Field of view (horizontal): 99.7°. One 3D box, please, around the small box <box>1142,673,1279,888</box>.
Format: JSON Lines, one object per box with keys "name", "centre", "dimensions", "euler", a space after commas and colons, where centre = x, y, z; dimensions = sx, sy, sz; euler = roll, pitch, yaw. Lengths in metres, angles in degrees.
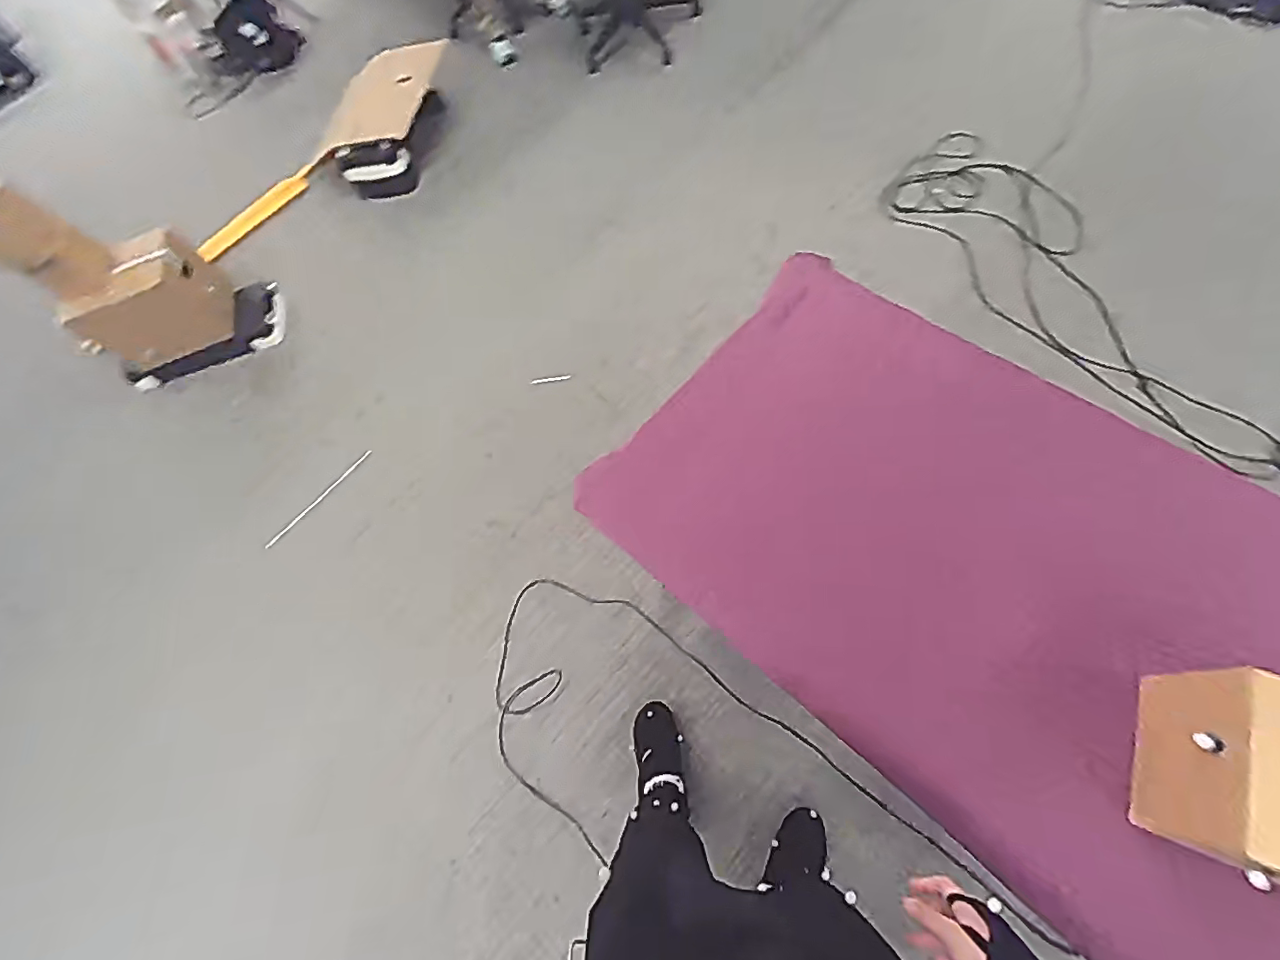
{"name": "small box", "centre": [0.657, 0.316, 0.543], "dimensions": [0.168, 0.176, 0.179], "euler": [18, 71, 19]}
